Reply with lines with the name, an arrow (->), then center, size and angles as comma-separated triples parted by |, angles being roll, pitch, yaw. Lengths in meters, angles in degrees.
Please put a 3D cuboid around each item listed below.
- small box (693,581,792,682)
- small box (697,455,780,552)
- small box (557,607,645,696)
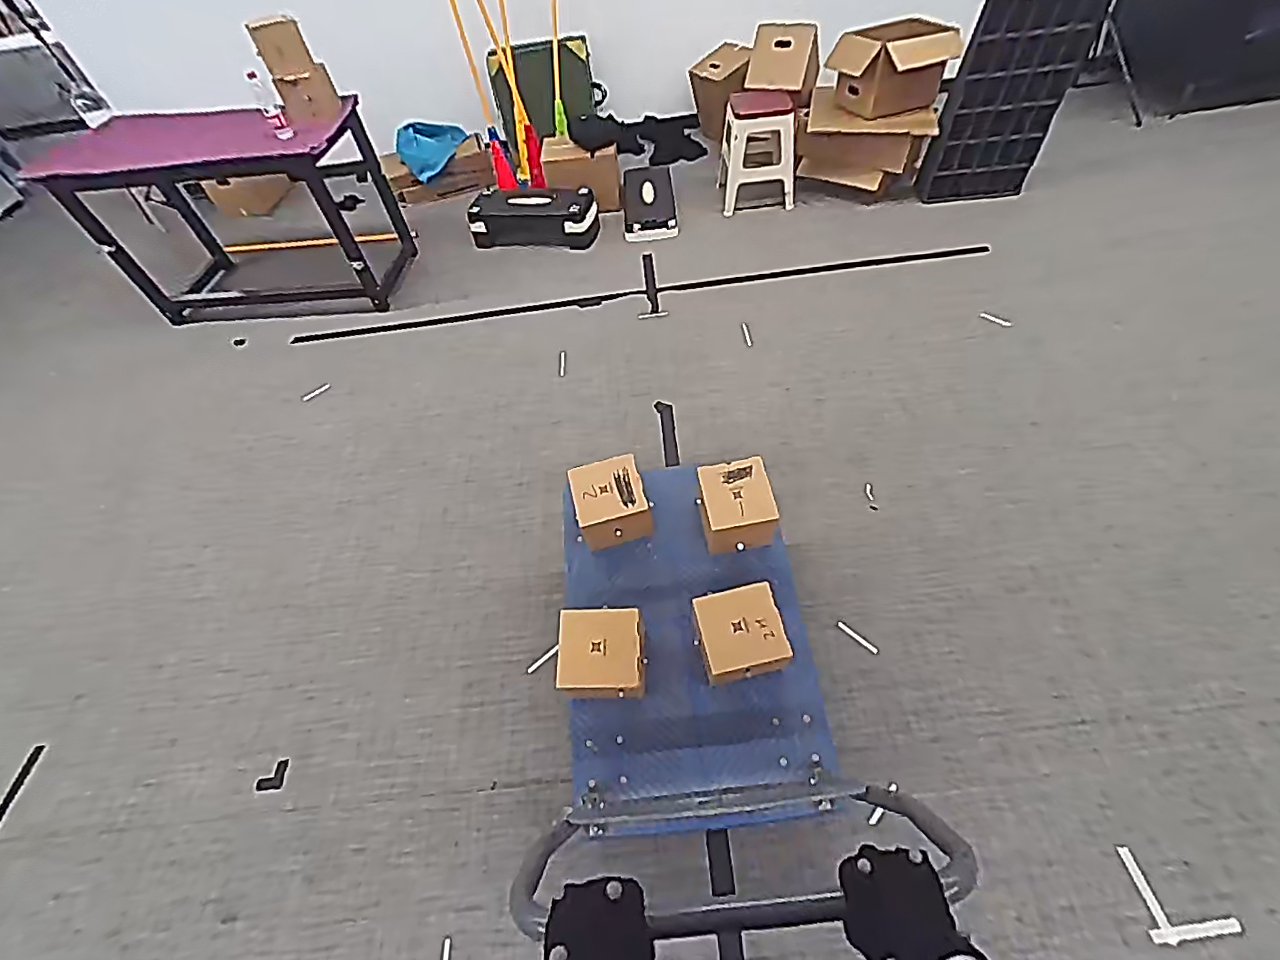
small box -> 0.224, 0.347, 1.223 | 0.179, 0.176, 0.168 | -13, 62, -1
small box -> 0.242, 0.064, 1.372 | 0.168, 0.176, 0.179 | -11, 62, 0
small box -> -0.081, 0.393, 1.228 | 0.179, 0.176, 0.168 | -2, 62, 3
